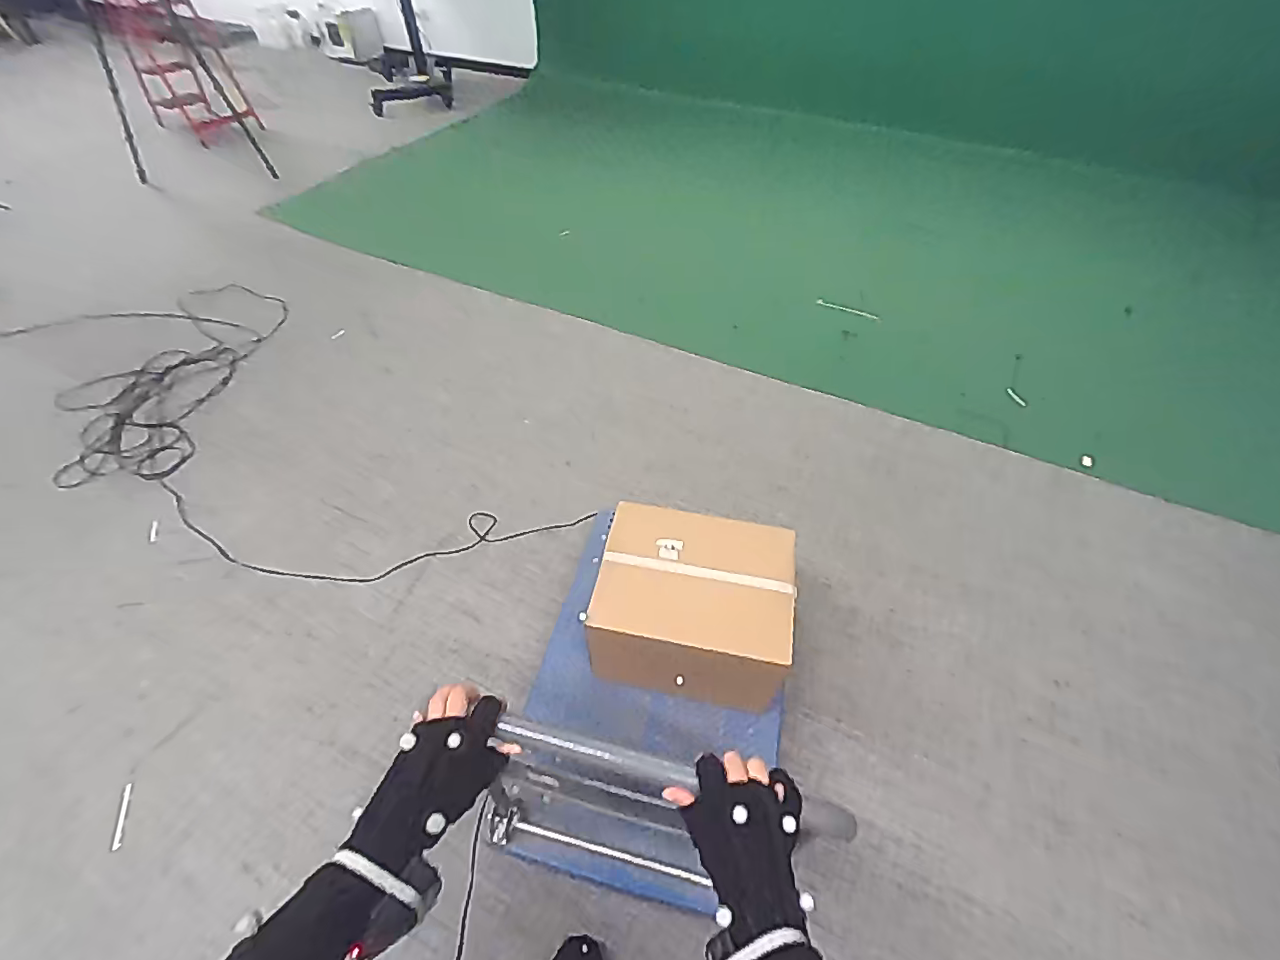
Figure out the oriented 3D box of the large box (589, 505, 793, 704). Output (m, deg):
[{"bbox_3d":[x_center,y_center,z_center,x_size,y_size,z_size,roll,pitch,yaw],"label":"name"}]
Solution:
[{"bbox_3d":[0.124,0.291,1.252,0.408,0.320,0.320,8,50,7],"label":"large box"}]
